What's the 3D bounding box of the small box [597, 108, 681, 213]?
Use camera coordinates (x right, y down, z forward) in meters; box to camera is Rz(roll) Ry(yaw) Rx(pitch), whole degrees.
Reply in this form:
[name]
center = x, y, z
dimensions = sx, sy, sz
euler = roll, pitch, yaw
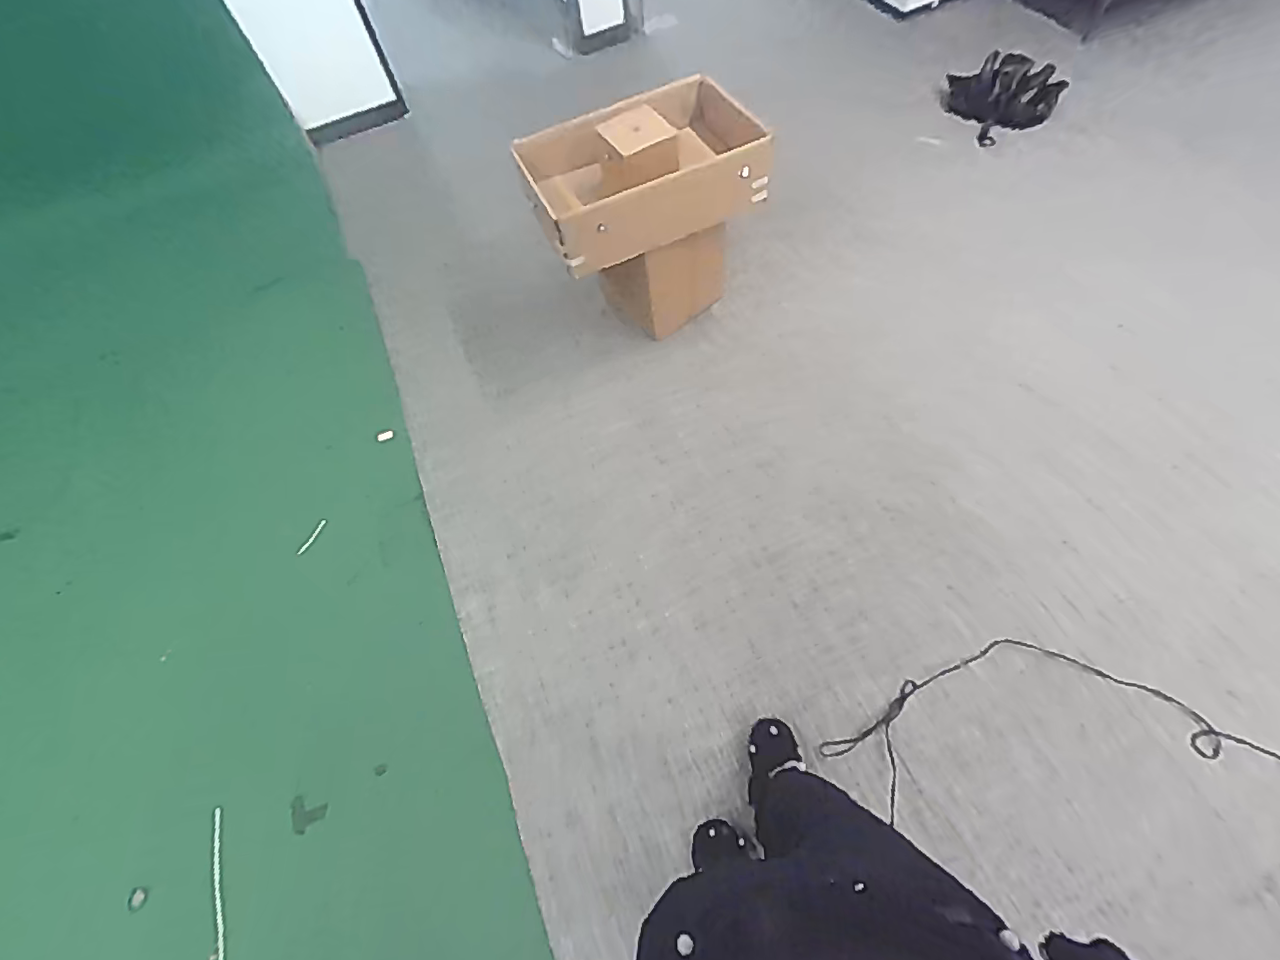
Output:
[small box]
center = 0.001, -0.879, 1.494
dimensions = 0.168, 0.176, 0.179
euler = -28, 63, -8
